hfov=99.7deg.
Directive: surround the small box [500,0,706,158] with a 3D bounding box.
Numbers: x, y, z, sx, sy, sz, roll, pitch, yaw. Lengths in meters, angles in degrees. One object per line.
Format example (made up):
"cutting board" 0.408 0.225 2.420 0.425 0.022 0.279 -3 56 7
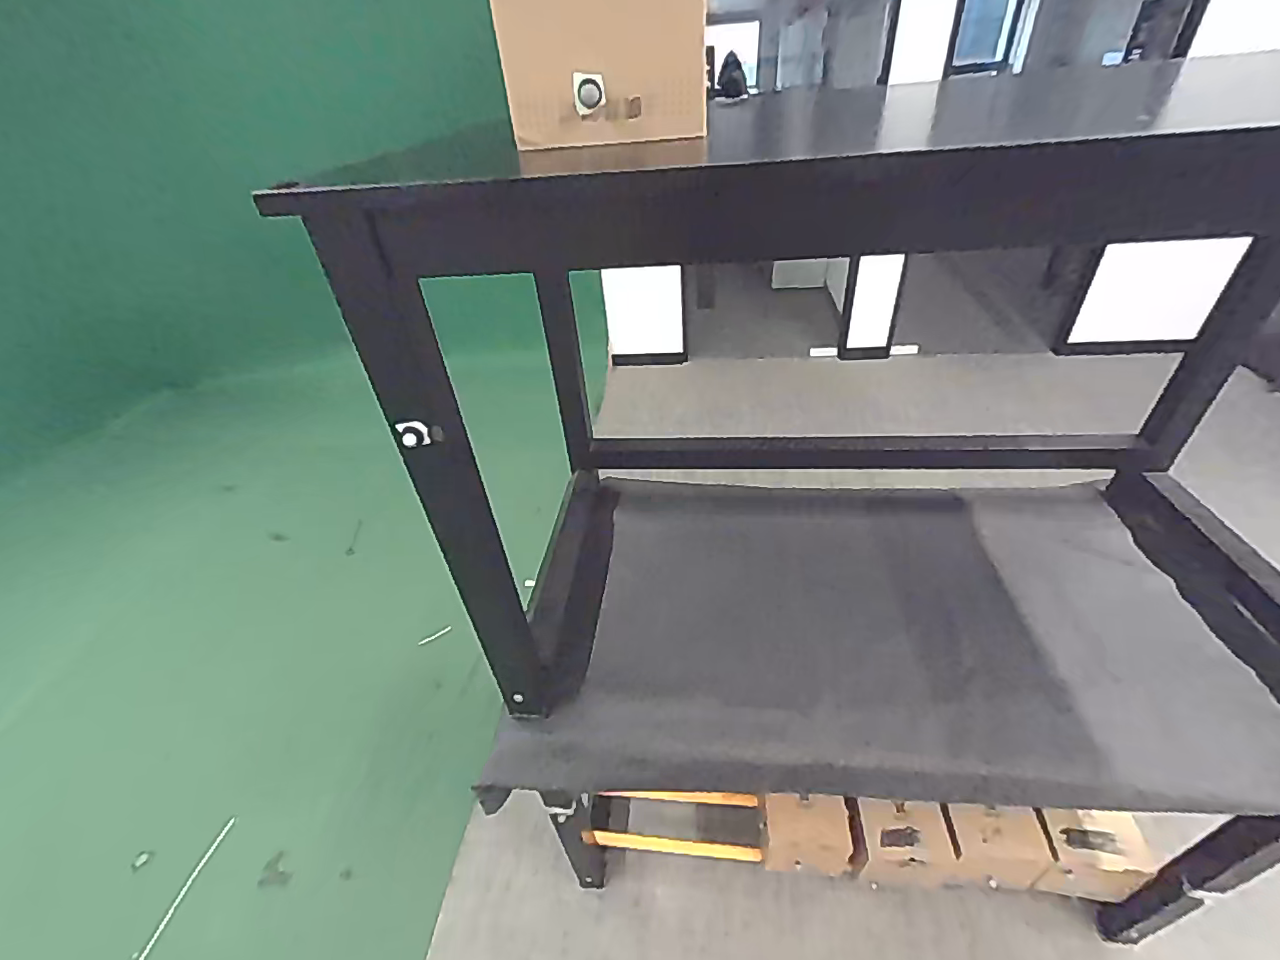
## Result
"small box" -0.026 -0.403 0.494 0.168 0.176 0.179 -3 38 5
